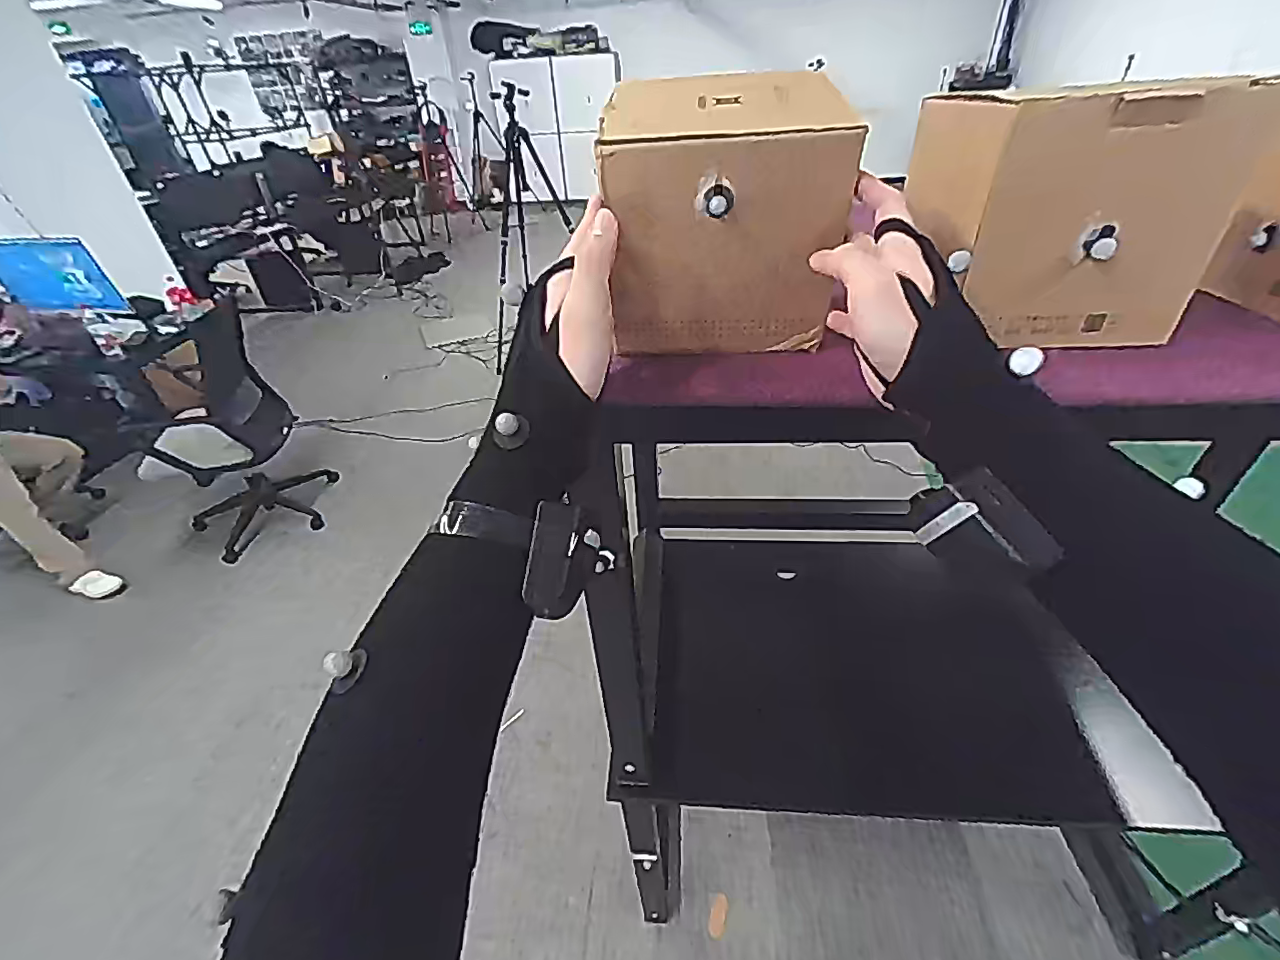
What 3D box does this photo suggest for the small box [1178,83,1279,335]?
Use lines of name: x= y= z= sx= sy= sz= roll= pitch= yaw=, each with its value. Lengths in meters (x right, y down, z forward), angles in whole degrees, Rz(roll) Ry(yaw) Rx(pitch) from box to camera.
small box: x=0.607 y=-0.217 z=0.426 sx=0.179 sy=0.176 sz=0.168 roll=0 pitch=35 yaw=7

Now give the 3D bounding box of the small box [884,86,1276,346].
small box: x=0.326 y=-0.220 z=0.455 sx=0.168 sy=0.176 sz=0.179 roll=1 pitch=36 yaw=5

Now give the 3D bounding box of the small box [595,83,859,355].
small box: x=0.066 y=-0.220 z=0.465 sx=0.179 sy=0.176 sz=0.168 roll=0 pitch=45 yaw=5
